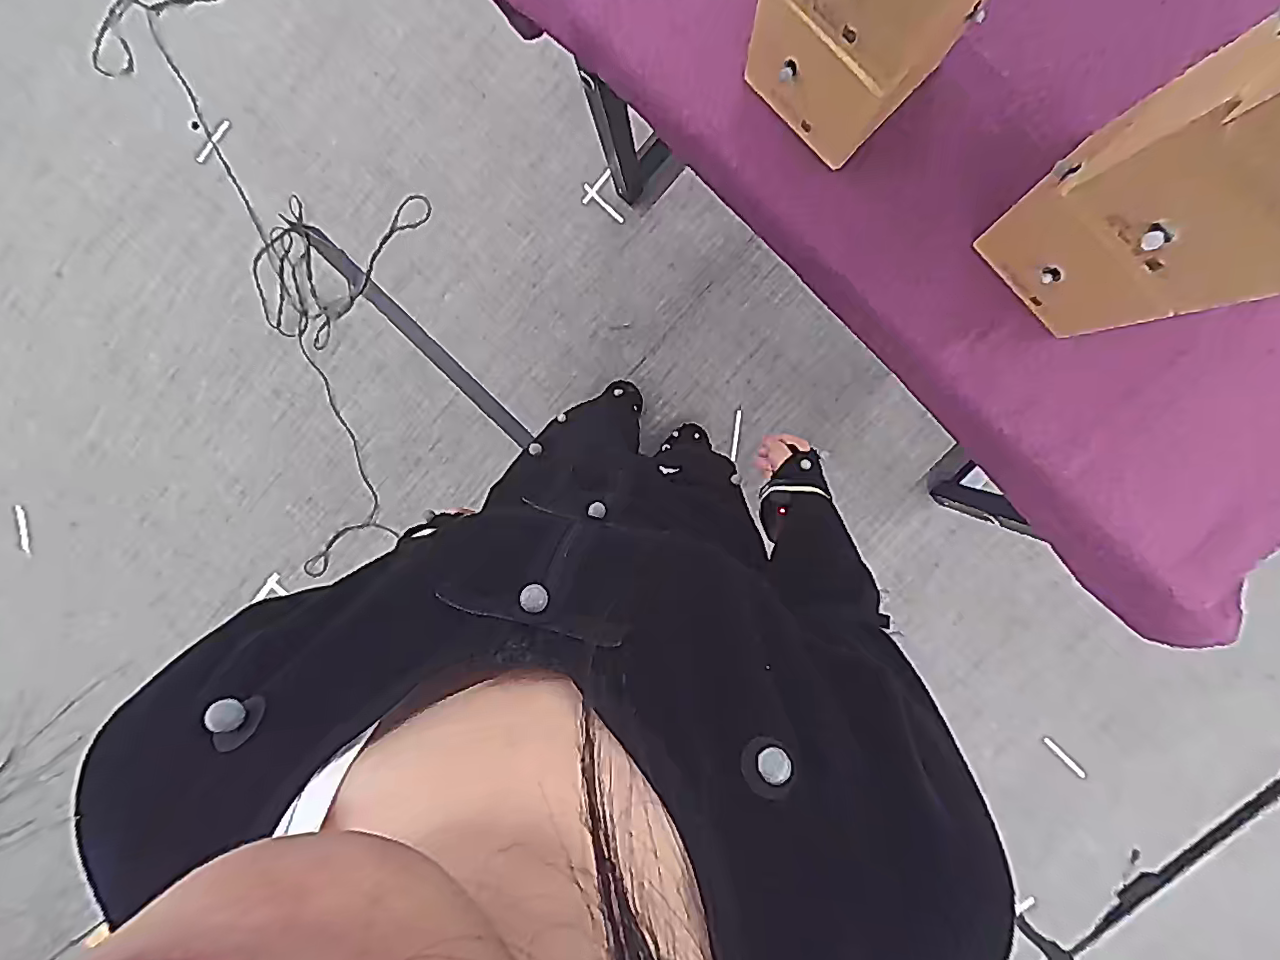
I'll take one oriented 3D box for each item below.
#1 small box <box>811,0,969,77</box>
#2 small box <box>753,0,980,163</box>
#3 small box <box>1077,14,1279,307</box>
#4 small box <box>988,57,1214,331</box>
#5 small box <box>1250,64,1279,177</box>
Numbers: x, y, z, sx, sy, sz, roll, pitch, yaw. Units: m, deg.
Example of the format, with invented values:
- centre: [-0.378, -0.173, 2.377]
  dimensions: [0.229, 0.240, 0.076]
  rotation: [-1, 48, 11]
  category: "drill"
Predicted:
- centre: [0.234, -0.484, 0.428]
  dimensions: [0.168, 0.176, 0.179]
  rotation: [42, 98, -2]
  category: "small box"
- centre: [0.241, -0.498, 0.592]
  dimensions: [0.168, 0.176, 0.179]
  rotation: [45, 97, -2]
  category: "small box"
- centre: [0.522, -0.268, 0.433]
  dimensions: [0.179, 0.176, 0.168]
  rotation: [-43, 92, 8]
  category: "small box"
- centre: [0.529, -0.288, 0.596]
  dimensions: [0.179, 0.176, 0.168]
  rotation: [-43, 93, 8]
  category: "small box"
- centre: [0.496, -0.232, 0.275]
  dimensions: [0.168, 0.176, 0.179]
  rotation: [43, 98, -2]
  category: "small box"
